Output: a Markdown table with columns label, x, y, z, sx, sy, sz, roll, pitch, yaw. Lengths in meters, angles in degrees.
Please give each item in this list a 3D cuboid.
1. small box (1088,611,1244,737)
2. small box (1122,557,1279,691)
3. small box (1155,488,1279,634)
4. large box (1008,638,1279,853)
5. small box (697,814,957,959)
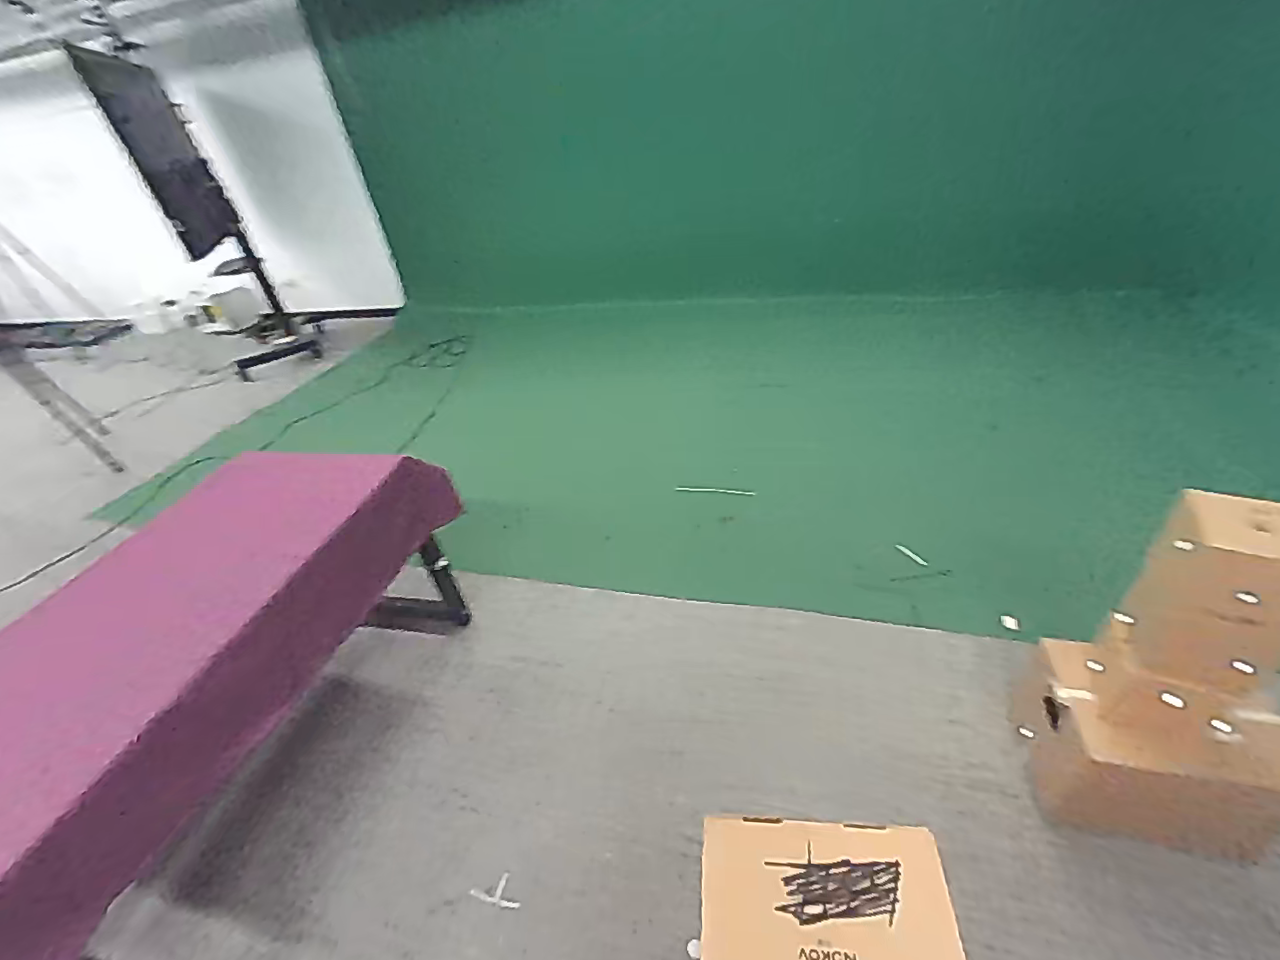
| label | x | y | z | sx | sy | sz | roll | pitch | yaw |
| --- | --- | --- | --- | --- | --- | --- | --- | --- | --- |
| small box | 1.103 | 0.414 | 1.153 | 0.179 | 0.176 | 0.168 | 10 | 39 | 24 |
| small box | 1.095 | 0.282 | 1.059 | 0.179 | 0.176 | 0.168 | 12 | 39 | 27 |
| small box | 1.075 | 0.144 | 0.971 | 0.168 | 0.176 | 0.179 | 13 | 40 | 27 |
| large box | 1.179 | 0.615 | 1.277 | 0.408 | 0.320 | 0.320 | 4 | 38 | 14 |
| small box | 0.130 | 0.371 | 0.394 | 0.168 | 0.176 | 0.179 | -4 | 43 | 11 |
